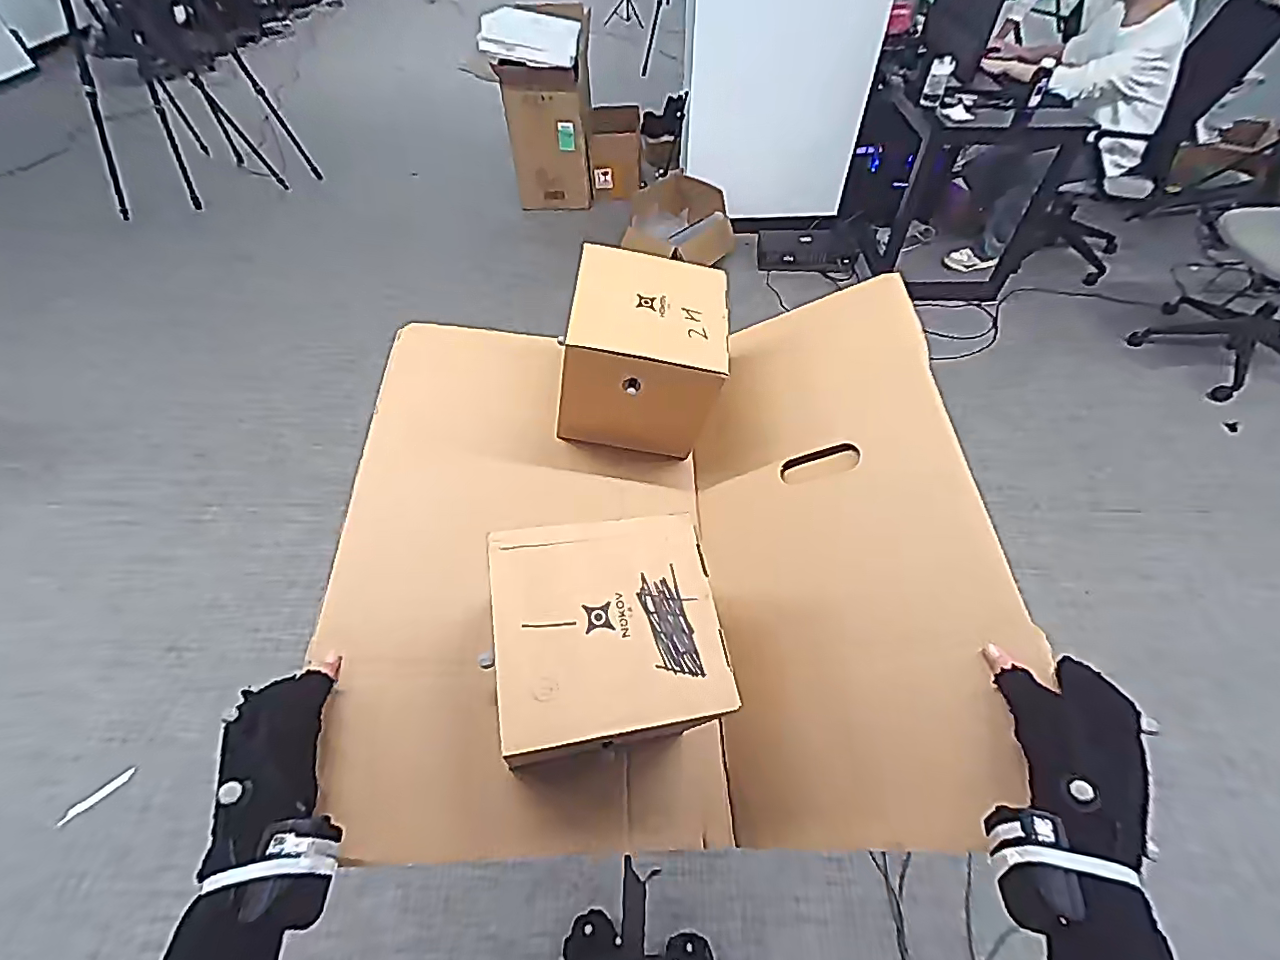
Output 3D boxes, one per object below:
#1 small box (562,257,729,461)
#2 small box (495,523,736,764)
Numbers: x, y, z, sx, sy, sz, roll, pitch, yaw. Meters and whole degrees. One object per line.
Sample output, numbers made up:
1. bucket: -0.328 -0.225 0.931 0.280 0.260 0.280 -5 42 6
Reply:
1. small box: 0.002 -0.142 0.676 0.179 0.176 0.168 10 59 -7
2. small box: -0.037 0.153 0.494 0.179 0.176 0.168 -4 61 -14
